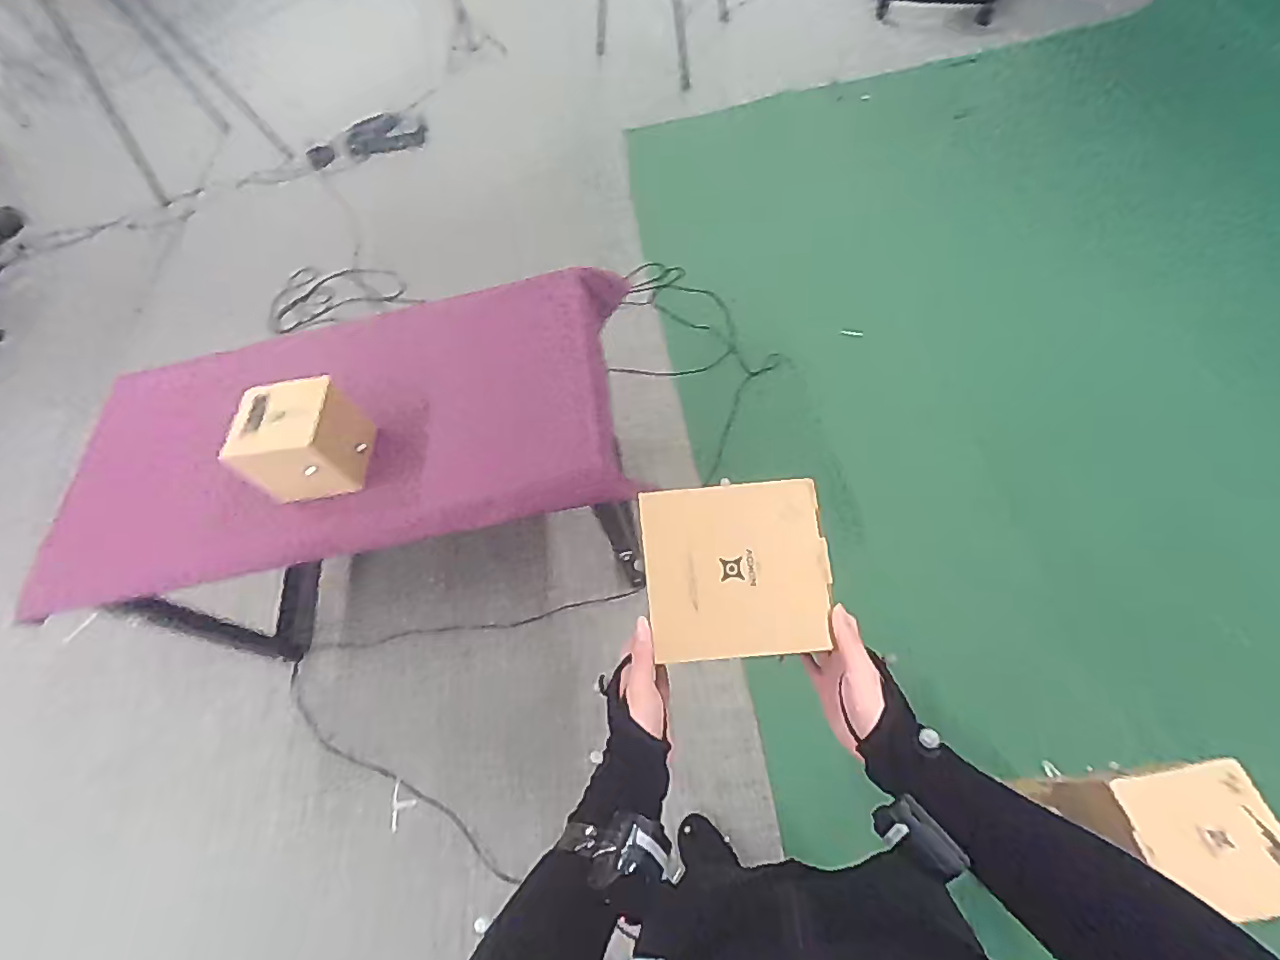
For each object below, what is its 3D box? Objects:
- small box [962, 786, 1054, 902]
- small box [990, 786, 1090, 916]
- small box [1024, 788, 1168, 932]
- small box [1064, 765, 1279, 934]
[{"bbox_3d":[0.840,0.774,1.168,0.168,0.176,0.179,-14,58,1],"label":"small box"},{"bbox_3d":[0.816,0.693,1.030,0.168,0.176,0.179,-13,58,2],"label":"small box"},{"bbox_3d":[0.789,0.606,0.894,0.168,0.176,0.179,-15,59,2],"label":"small box"},{"bbox_3d":[0.751,0.513,0.763,0.179,0.176,0.168,-12,58,4],"label":"small box"}]
